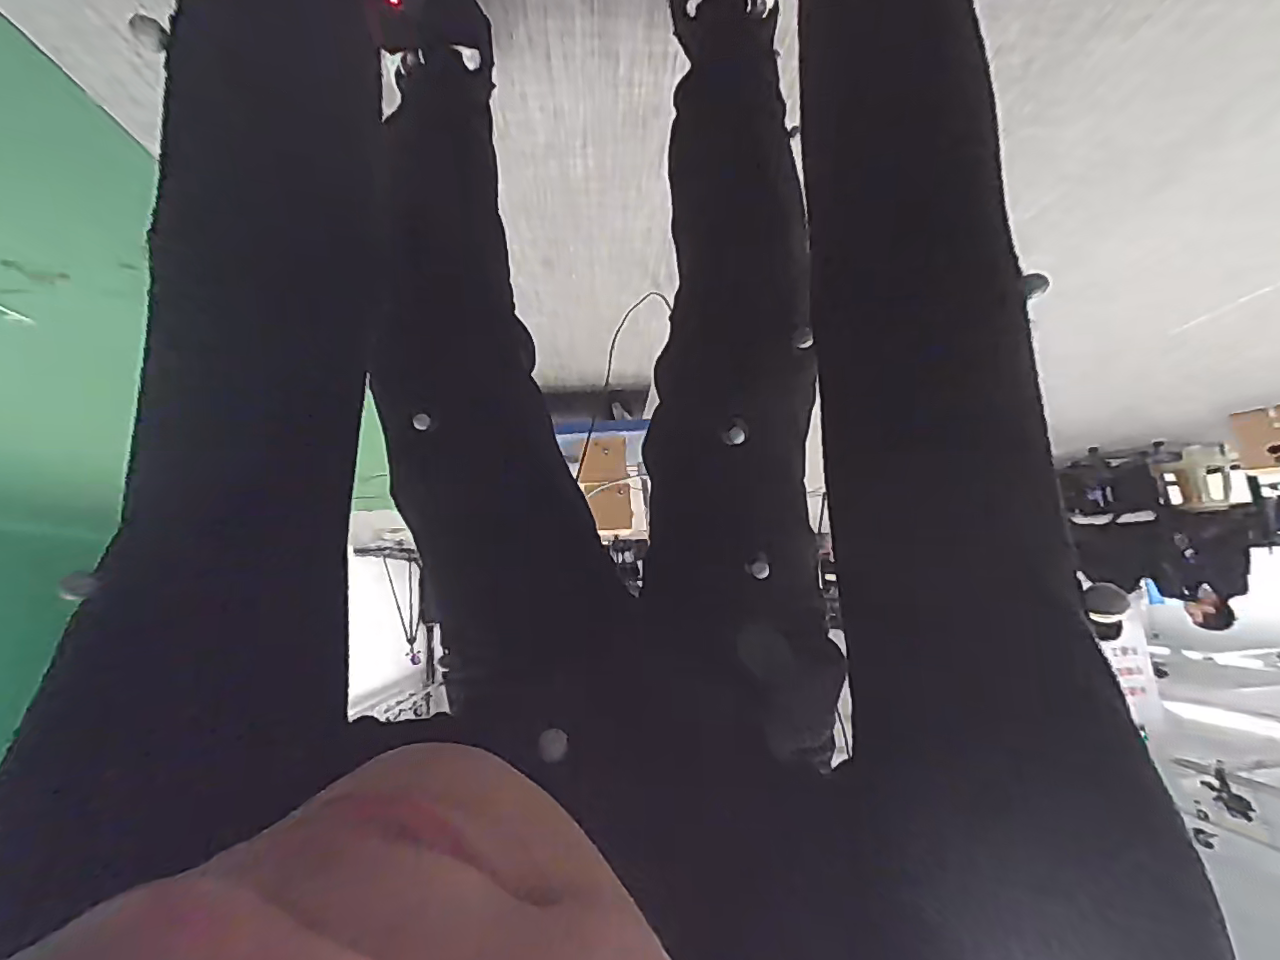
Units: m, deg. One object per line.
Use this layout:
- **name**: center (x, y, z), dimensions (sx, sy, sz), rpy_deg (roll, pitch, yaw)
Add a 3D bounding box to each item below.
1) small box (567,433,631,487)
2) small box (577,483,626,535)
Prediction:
- **small box**: center (-0.152, -0.069, 1.978), dimensions (0.179, 0.176, 0.168), rpy_deg (3, 166, -36)
- **small box**: center (-0.144, 0.104, 1.970), dimensions (0.168, 0.176, 0.179), rpy_deg (-2, 170, -6)
